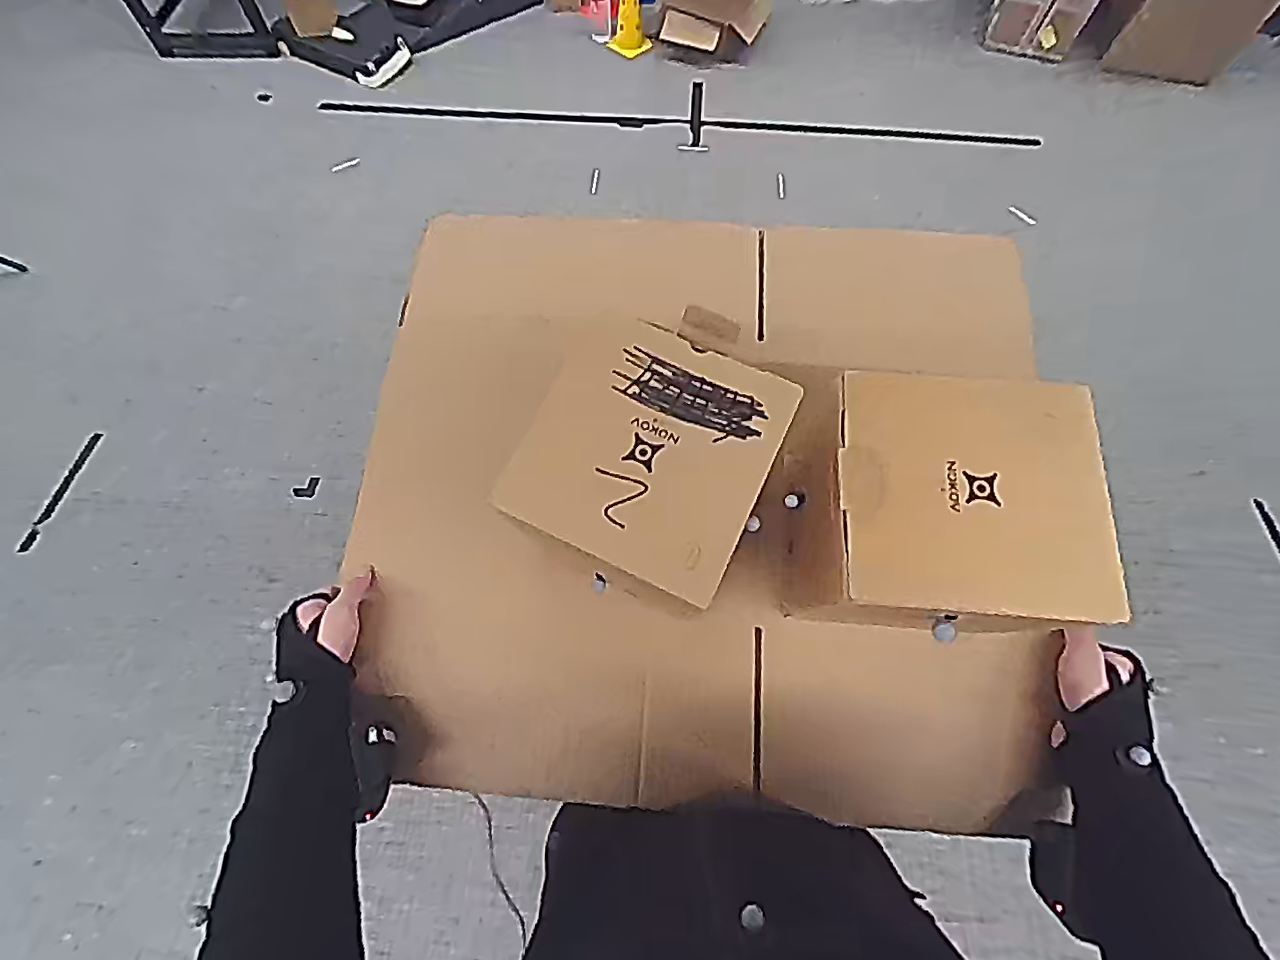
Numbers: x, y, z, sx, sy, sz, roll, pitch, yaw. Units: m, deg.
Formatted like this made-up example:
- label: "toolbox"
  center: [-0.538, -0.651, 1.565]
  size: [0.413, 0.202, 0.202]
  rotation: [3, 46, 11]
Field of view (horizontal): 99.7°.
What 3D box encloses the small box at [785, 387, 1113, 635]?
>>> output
- label: "small box"
  center: [0.231, 0.038, 0.454]
  size: [0.179, 0.176, 0.168]
  rotation: [4, 73, 3]
